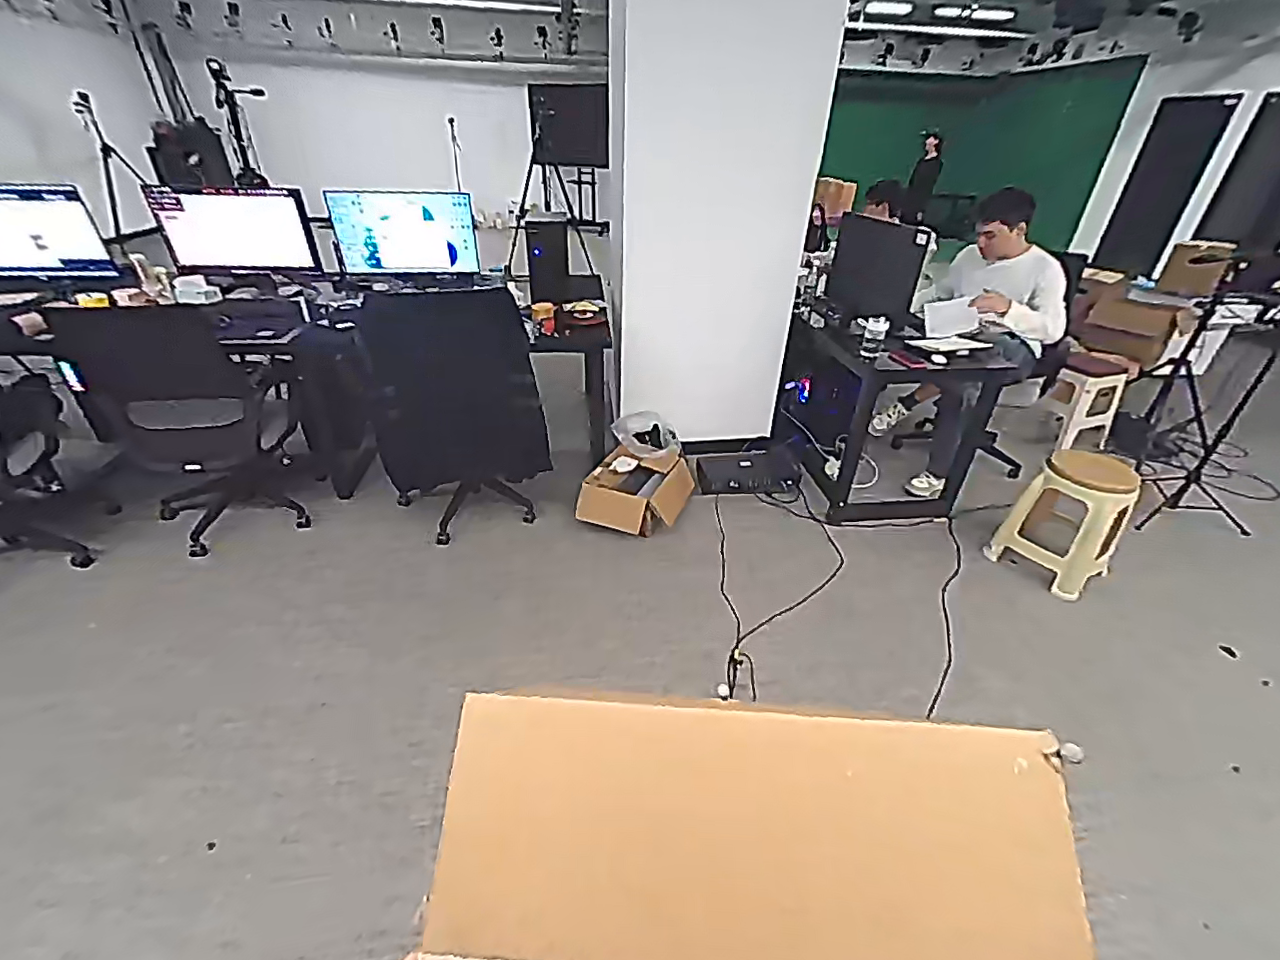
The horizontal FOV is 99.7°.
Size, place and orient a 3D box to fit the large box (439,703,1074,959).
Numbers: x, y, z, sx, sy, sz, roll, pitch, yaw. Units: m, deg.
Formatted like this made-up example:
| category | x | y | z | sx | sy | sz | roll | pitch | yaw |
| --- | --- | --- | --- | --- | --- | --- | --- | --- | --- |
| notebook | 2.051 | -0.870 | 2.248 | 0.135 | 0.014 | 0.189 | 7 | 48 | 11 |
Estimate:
| category | x | y | z | sx | sy | sz | roll | pitch | yaw |
| --- | --- | --- | --- | --- | --- | --- | --- | --- | --- |
| large box | 0.069 | 0.368 | 0.471 | 0.408 | 0.320 | 0.320 | 3 | 71 | 1 |
